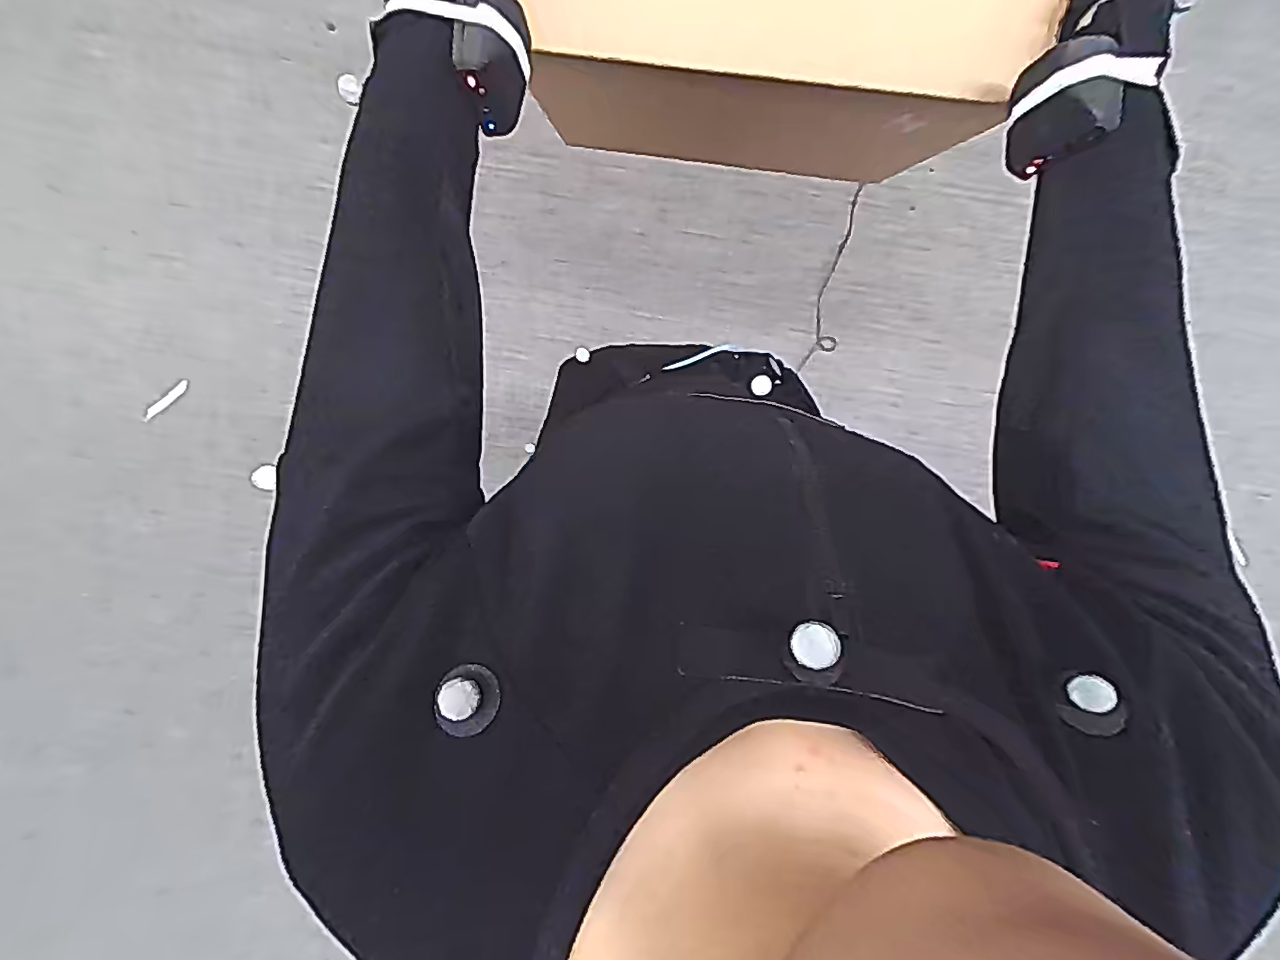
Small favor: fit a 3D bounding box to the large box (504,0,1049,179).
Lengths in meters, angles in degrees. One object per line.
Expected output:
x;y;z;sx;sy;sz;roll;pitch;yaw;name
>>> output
0.110;-0.496;0.499;0.408;0.320;0.320;6;110;-1;large box
